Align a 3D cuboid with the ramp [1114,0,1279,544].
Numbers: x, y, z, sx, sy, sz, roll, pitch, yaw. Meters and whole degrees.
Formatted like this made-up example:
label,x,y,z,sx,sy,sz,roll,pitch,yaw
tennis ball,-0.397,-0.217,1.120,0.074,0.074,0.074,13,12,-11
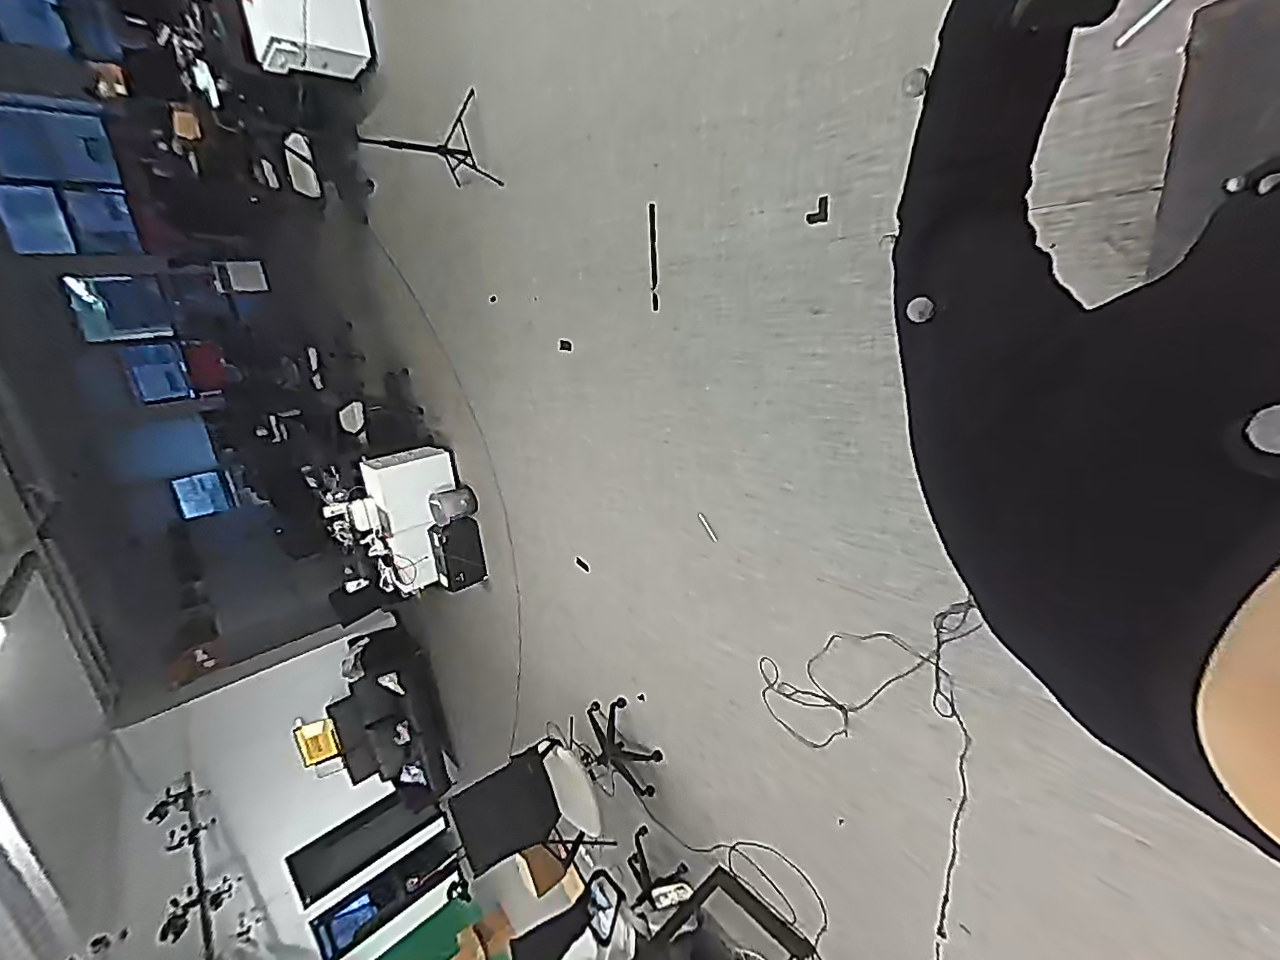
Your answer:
label,x,y,z,sx,sy,sz,roll,pitch,yaw
ramp,1.195,-0.313,0.918,0.509,0.206,0.991,13,115,46
